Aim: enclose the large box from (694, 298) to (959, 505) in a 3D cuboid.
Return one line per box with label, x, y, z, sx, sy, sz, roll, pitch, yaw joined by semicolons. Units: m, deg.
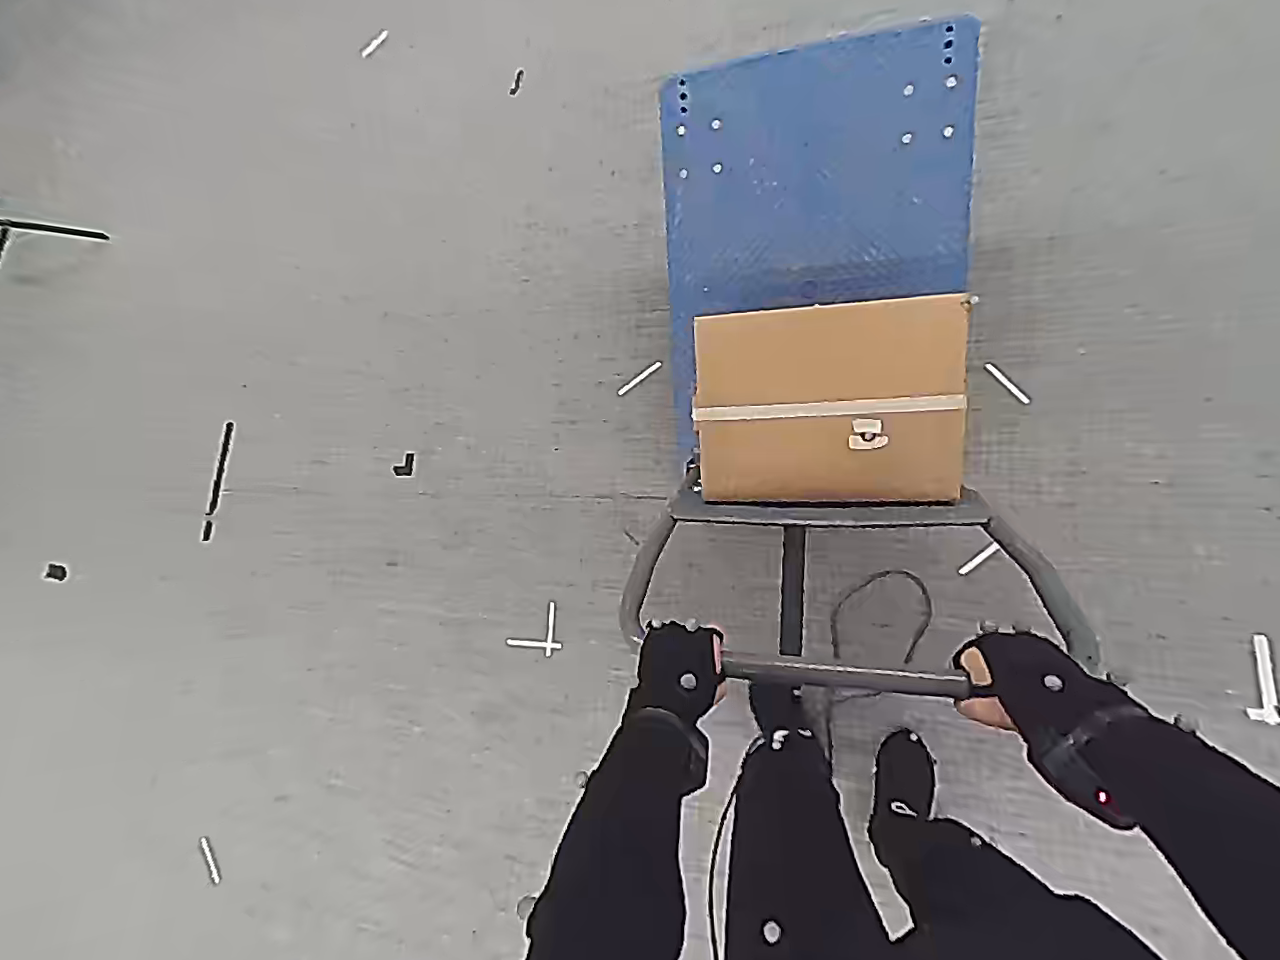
large box;0.329;-0.144;1.020;0.408;0.320;0.320;-2;102;14
